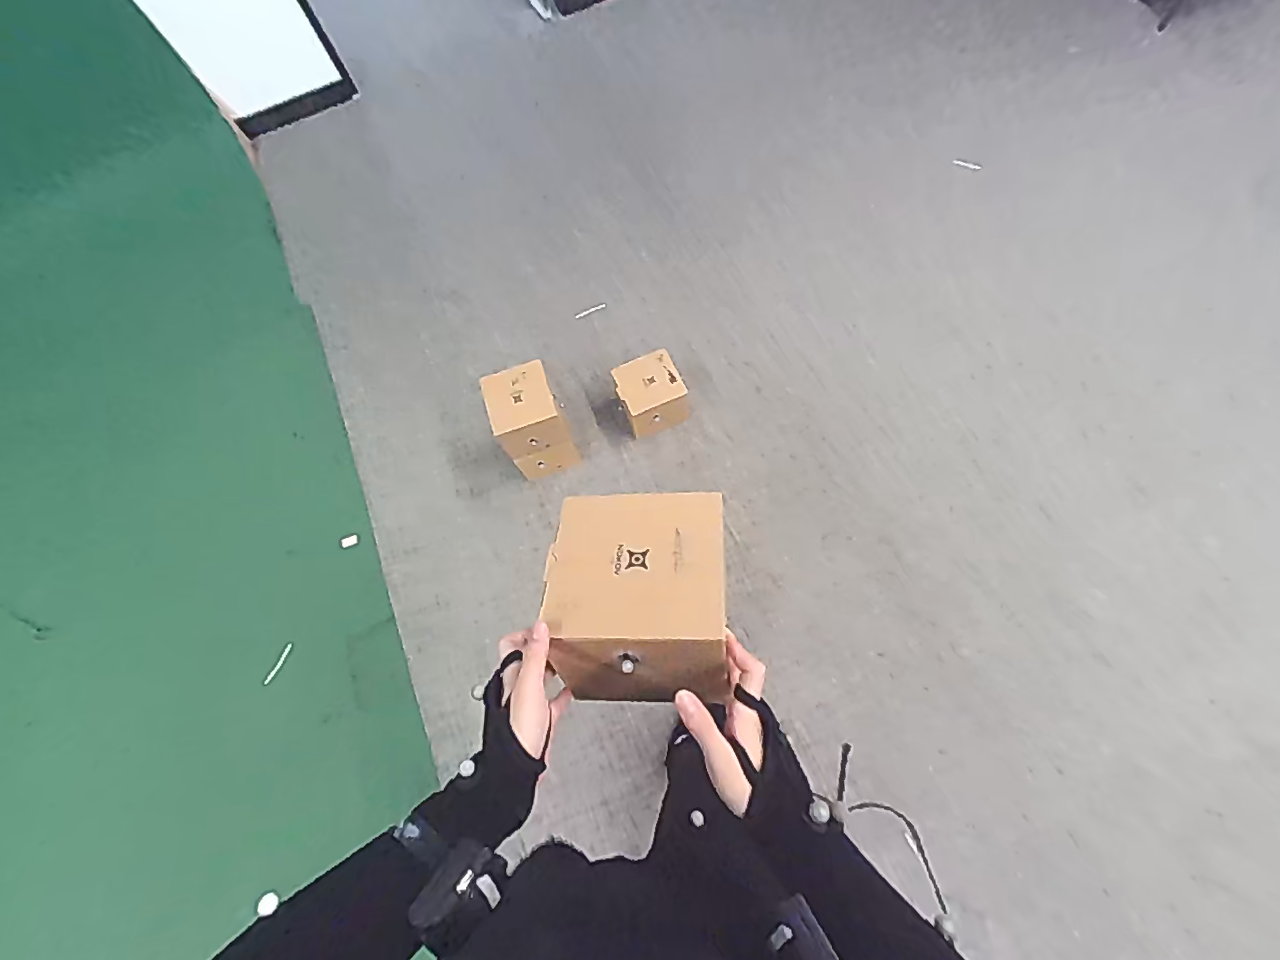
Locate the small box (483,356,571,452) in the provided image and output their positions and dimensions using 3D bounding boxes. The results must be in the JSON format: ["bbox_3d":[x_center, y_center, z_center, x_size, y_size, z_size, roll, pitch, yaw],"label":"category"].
[{"bbox_3d":[-0.292,-0.191,1.433,0.168,0.176,0.179,-19,70,-2],"label":"small box"}]

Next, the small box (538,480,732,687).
[{"bbox_3d":[0.009,0.118,0.597,0.179,0.176,0.168,-2,49,10],"label":"small box"}]

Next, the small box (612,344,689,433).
[{"bbox_3d":[0.037,-0.263,1.600,0.179,0.176,0.168,-24,71,-2],"label":"small box"}]

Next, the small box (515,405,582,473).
[{"bbox_3d":[-0.281,-0.135,1.588,0.168,0.176,0.179,-21,70,-2],"label":"small box"}]
